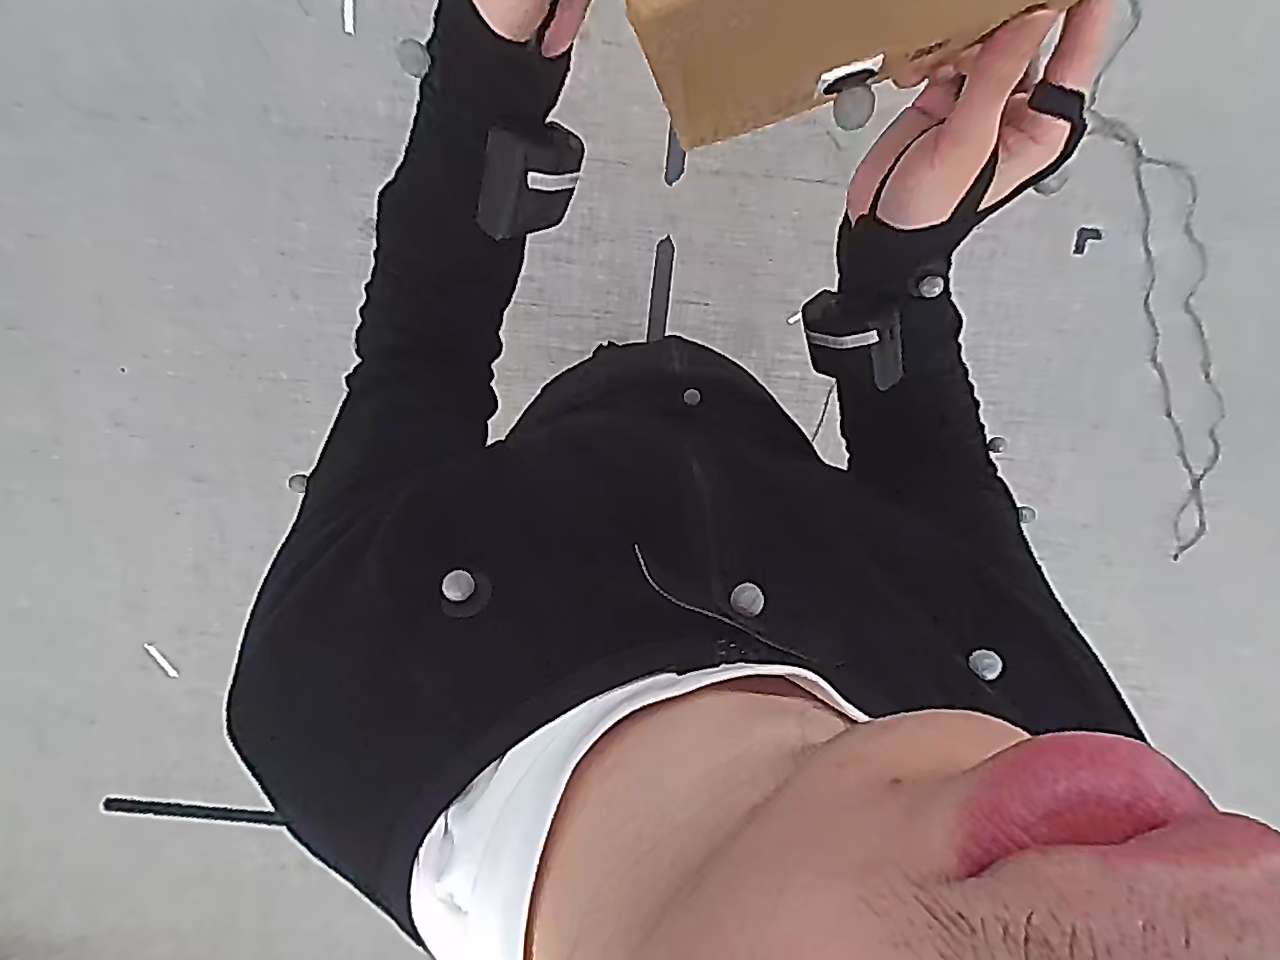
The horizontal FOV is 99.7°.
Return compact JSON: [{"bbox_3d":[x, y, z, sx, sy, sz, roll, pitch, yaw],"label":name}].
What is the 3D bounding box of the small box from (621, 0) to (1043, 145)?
[{"bbox_3d":[0.059,-0.233,0.155,0.168,0.176,0.179,-14,109,16],"label":"small box"}]
